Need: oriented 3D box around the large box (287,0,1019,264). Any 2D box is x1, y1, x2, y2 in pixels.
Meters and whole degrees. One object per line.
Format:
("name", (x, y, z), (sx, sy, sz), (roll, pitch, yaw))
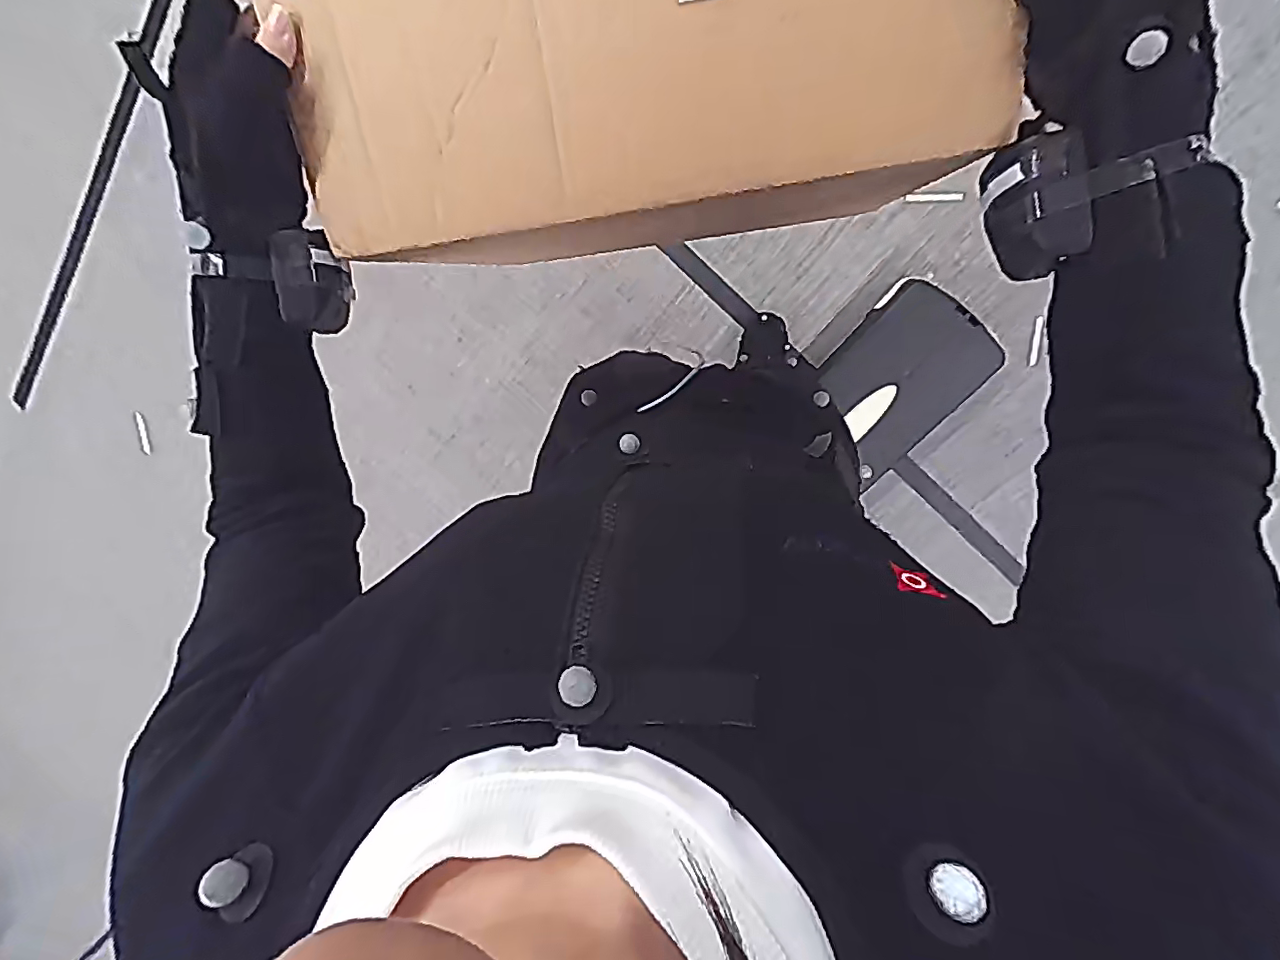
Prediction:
("large box", (0.005, -0.365, 0.416), (0.408, 0.320, 0.320), (-5, 110, 11))
